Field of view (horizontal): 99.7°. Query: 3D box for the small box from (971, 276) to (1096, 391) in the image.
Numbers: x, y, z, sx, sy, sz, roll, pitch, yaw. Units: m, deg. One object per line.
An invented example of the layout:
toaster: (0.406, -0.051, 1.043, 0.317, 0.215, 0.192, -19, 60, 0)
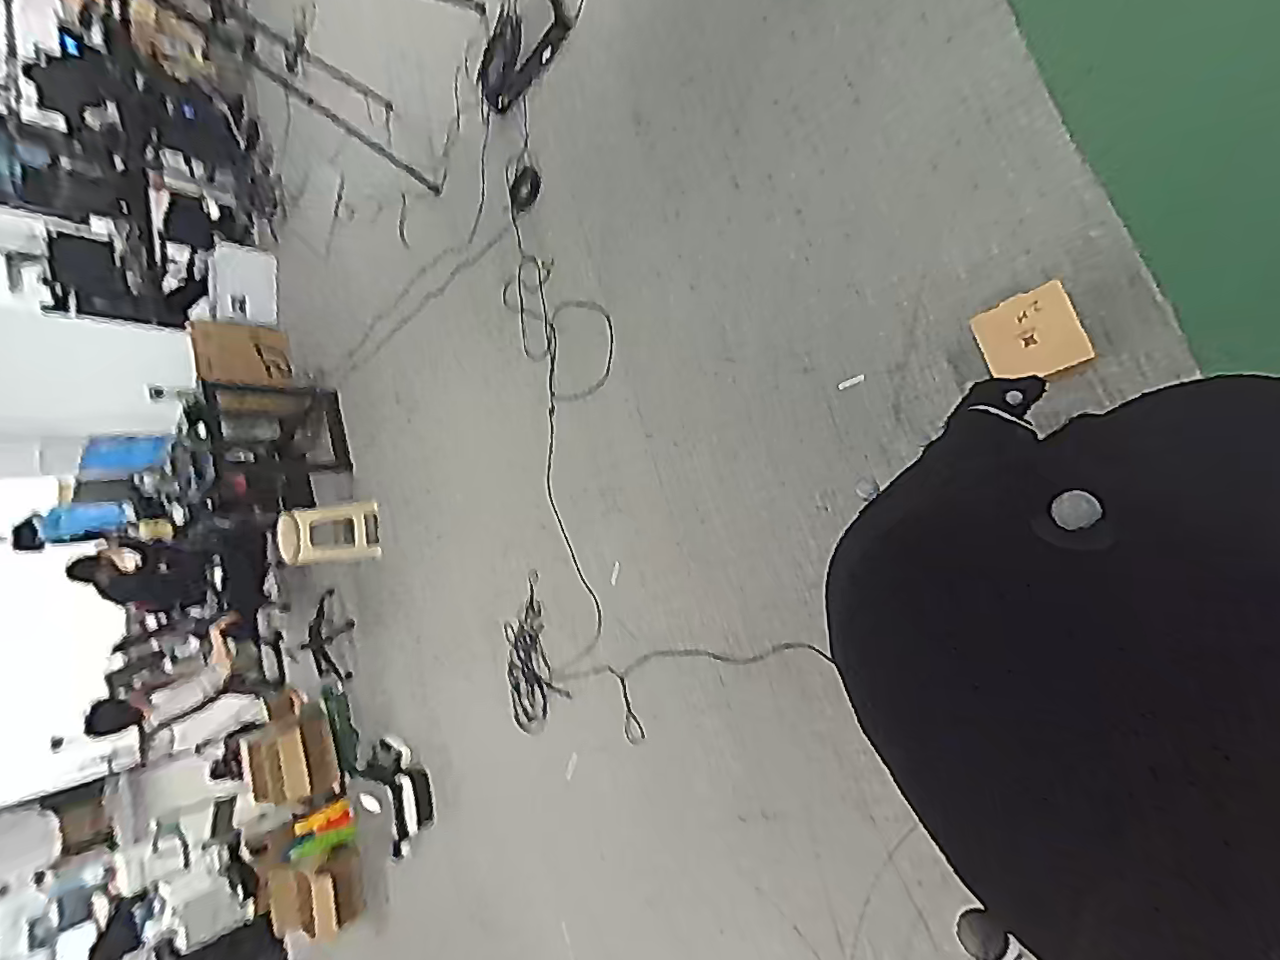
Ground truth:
small box: (0.838, -0.300, 1.151, 0.168, 0.176, 0.179, -25, 77, 37)
